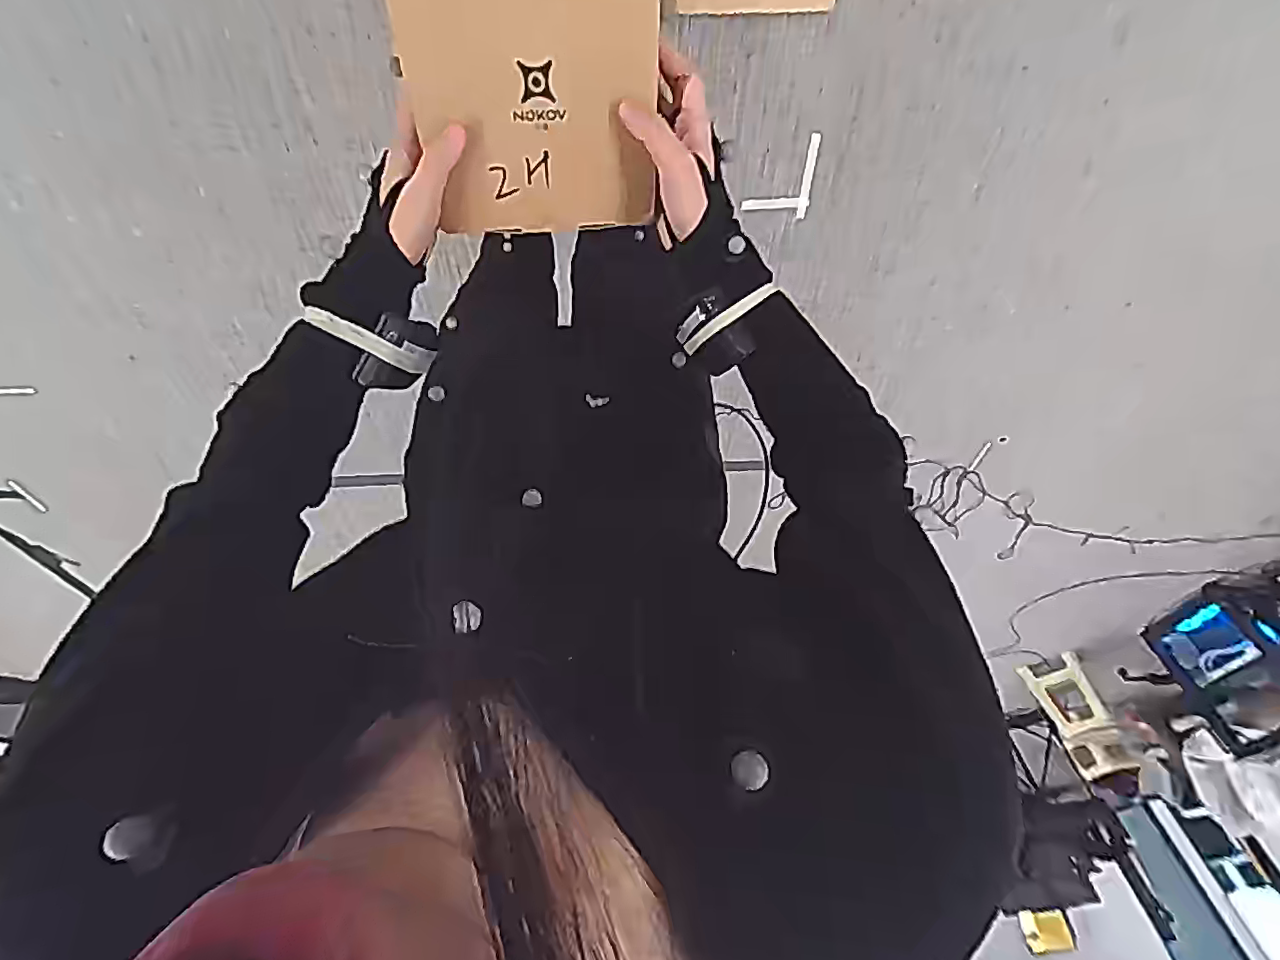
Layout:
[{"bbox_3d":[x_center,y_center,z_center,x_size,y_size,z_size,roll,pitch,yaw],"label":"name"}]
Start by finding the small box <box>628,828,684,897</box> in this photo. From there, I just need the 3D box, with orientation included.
[{"bbox_3d":[0.050,1.297,1.834,0.168,0.176,0.179,-3,138,-6],"label":"small box"}]

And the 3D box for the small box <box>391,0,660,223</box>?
[{"bbox_3d":[-0.082,-0.320,0.414,0.168,0.176,0.179,-5,137,-7],"label":"small box"}]
